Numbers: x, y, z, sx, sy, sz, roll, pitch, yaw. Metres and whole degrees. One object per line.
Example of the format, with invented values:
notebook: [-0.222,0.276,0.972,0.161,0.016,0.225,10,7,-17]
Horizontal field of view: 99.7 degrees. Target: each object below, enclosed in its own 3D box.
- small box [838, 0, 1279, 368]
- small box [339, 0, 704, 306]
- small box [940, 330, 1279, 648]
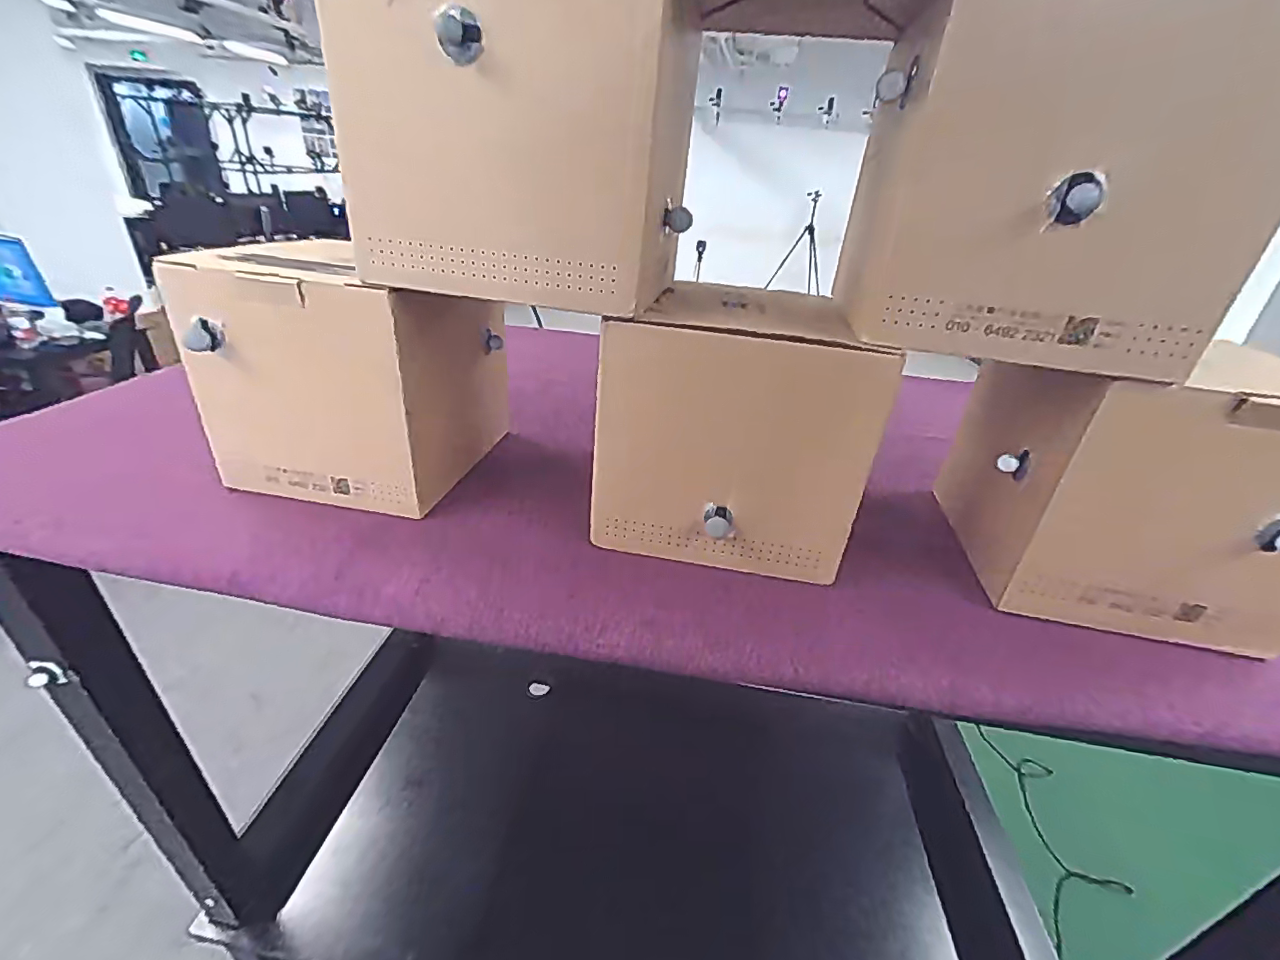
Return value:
small box: [0.227,-0.175,0.322,0.168,0.176,0.179,10,29,9]
small box: [-0.063,-0.215,0.346,0.179,0.176,0.168,10,29,7]
small box: [0.343,-0.011,0.385,0.168,0.176,0.179,10,29,9]
